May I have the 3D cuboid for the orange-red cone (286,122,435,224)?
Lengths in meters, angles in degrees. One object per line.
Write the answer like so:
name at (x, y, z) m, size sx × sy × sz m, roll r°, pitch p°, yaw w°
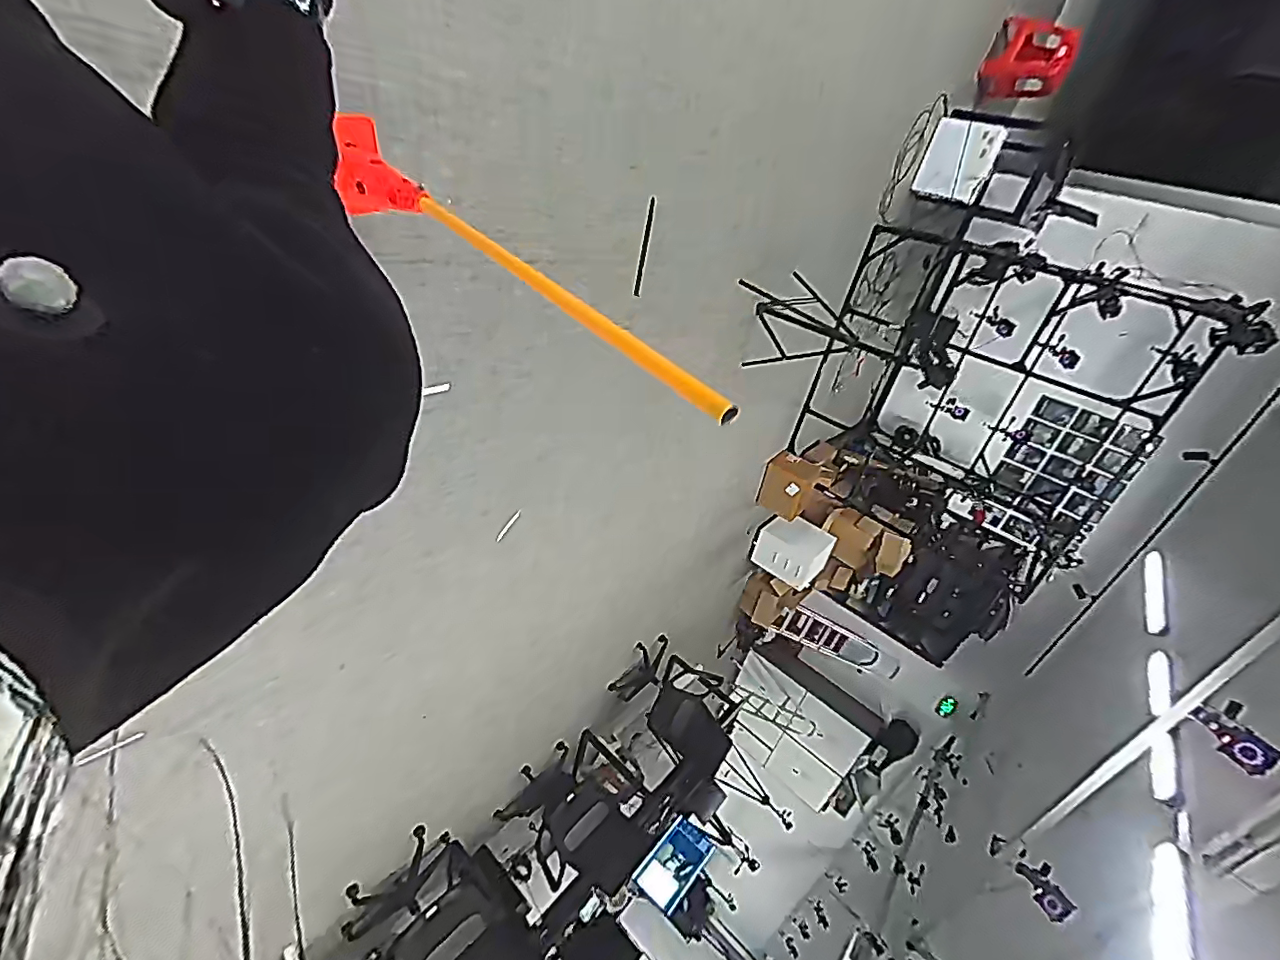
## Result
orange-red cone at (-0.545, -0.606, 1.136) m, size 0.199 × 0.360 × 0.198 m, roll -32°, pitch 144°, yaw -40°
